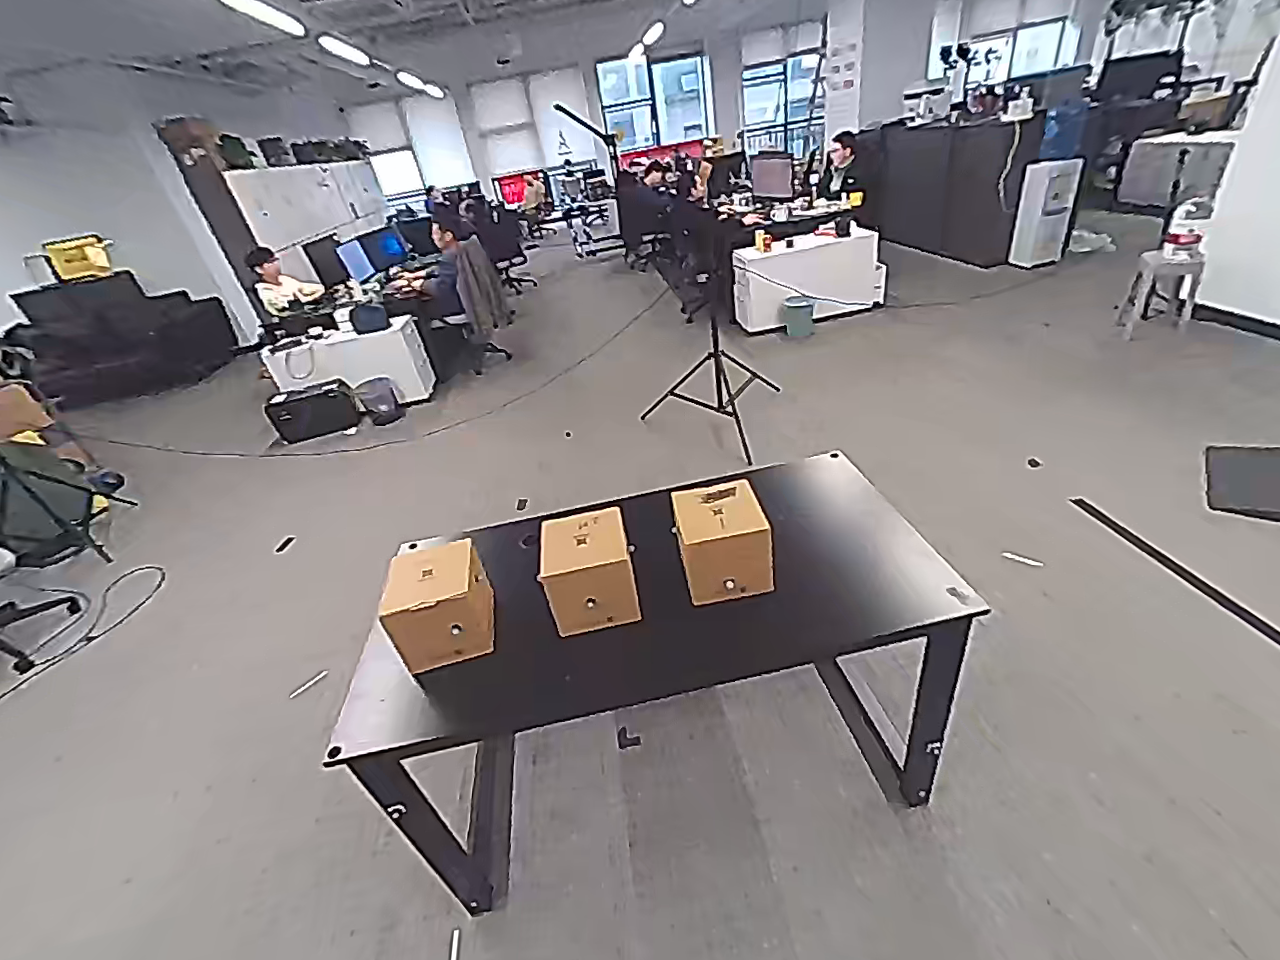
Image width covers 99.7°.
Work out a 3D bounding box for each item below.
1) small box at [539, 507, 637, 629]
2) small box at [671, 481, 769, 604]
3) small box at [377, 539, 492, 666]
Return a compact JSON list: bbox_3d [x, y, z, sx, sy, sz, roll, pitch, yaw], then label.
[{"bbox_3d":[-0.105,0.186,1.110,0.168,0.176,0.179,-11,32,-2],"label":"small box"},{"bbox_3d":[0.164,0.128,1.121,0.168,0.176,0.179,-11,33,1],"label":"small box"},{"bbox_3d":[-0.405,0.253,1.097,0.168,0.176,0.179,-14,32,-7],"label":"small box"}]
